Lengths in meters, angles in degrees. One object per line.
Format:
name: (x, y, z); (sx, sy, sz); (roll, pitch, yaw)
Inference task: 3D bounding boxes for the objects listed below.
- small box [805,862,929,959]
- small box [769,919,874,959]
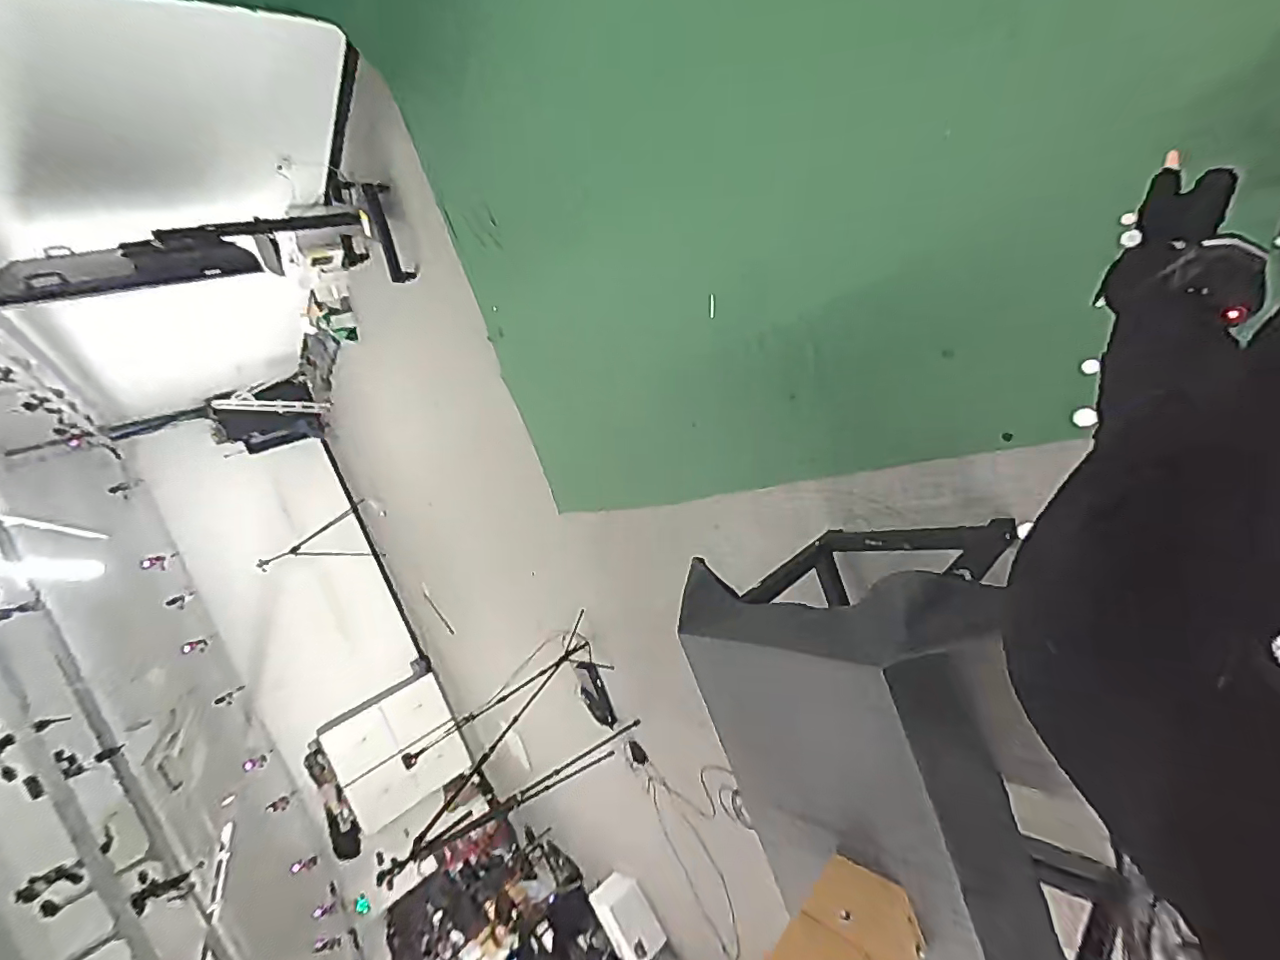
small box: (0.500, 0.989, 1.178); (0.179, 0.176, 0.168); (-14, 99, 56)
small box: (0.379, 1.044, 1.086); (0.179, 0.176, 0.168); (-14, 99, 55)
